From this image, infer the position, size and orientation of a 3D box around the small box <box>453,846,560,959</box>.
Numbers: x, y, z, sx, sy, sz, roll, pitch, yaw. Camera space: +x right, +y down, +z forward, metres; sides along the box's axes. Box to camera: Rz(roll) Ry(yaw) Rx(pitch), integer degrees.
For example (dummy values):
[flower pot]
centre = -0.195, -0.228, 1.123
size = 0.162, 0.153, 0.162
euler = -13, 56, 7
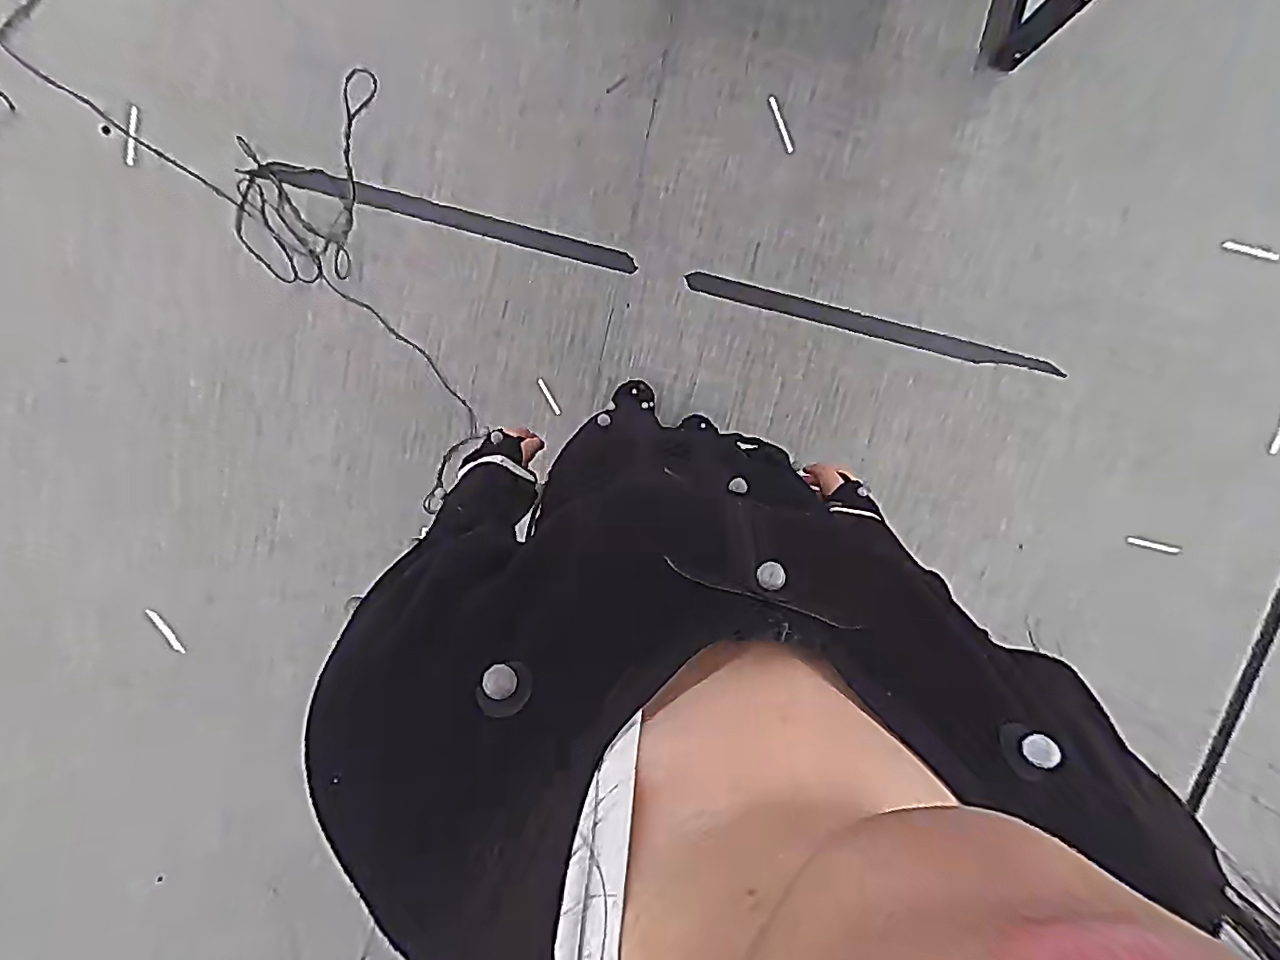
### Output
[small box]
centre = -0.264, 0.883, 1.080
size = 0.168, 0.176, 0.179
euler = 17, 98, -3
